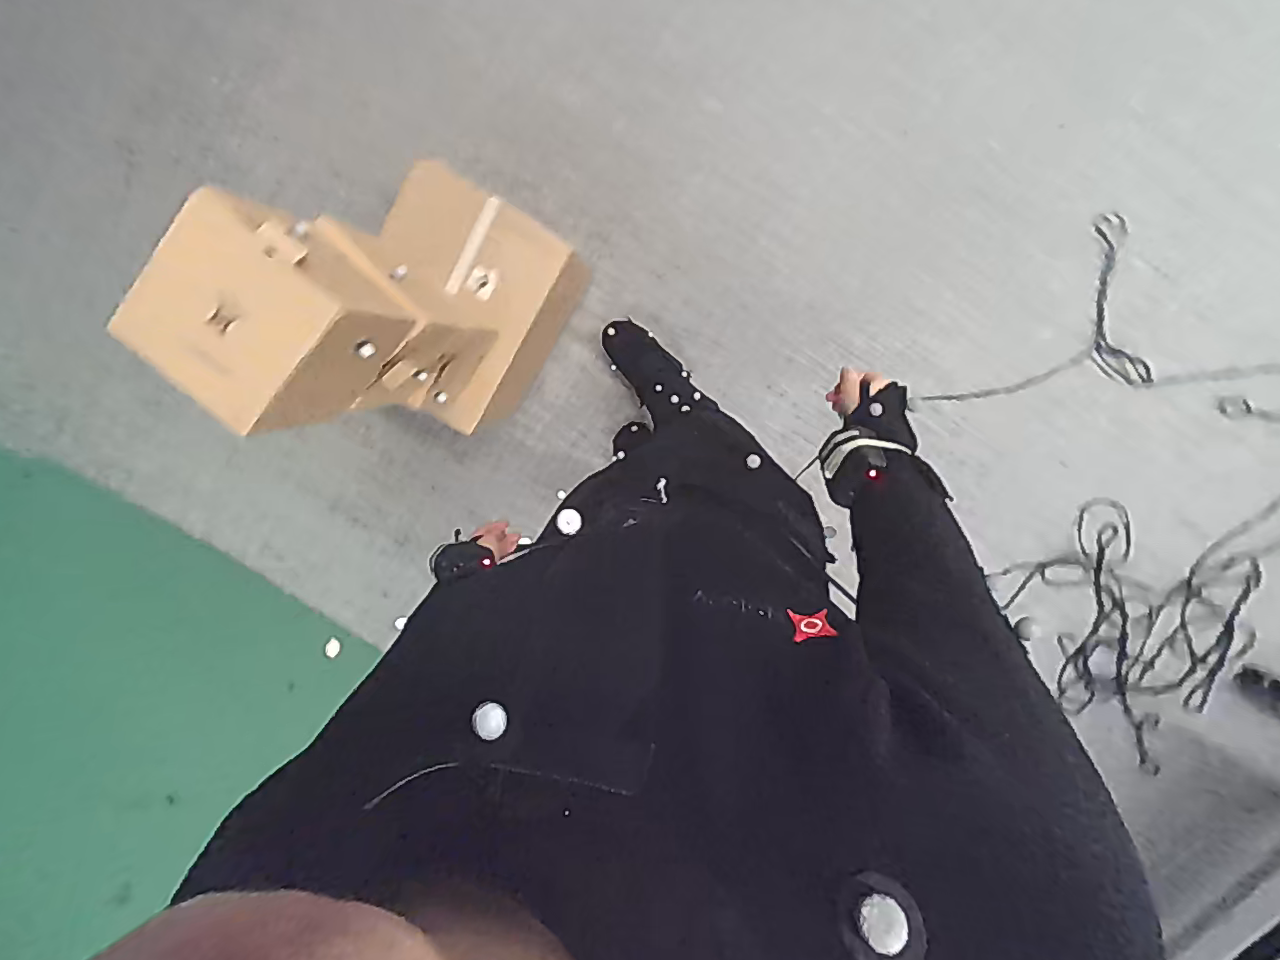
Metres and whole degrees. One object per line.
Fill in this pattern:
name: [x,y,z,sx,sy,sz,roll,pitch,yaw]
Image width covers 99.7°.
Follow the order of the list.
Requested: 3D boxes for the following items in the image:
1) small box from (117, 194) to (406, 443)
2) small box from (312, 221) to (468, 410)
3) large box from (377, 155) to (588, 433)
small box: [-0.393,-0.169,0.600,0.168,0.176,0.179,42,102,-6]
small box: [-0.377,-0.217,0.755,0.168,0.176,0.179,-44,98,10]
large box: [-0.351,-0.358,1.139,0.320,0.320,0.408,30,101,-6]
